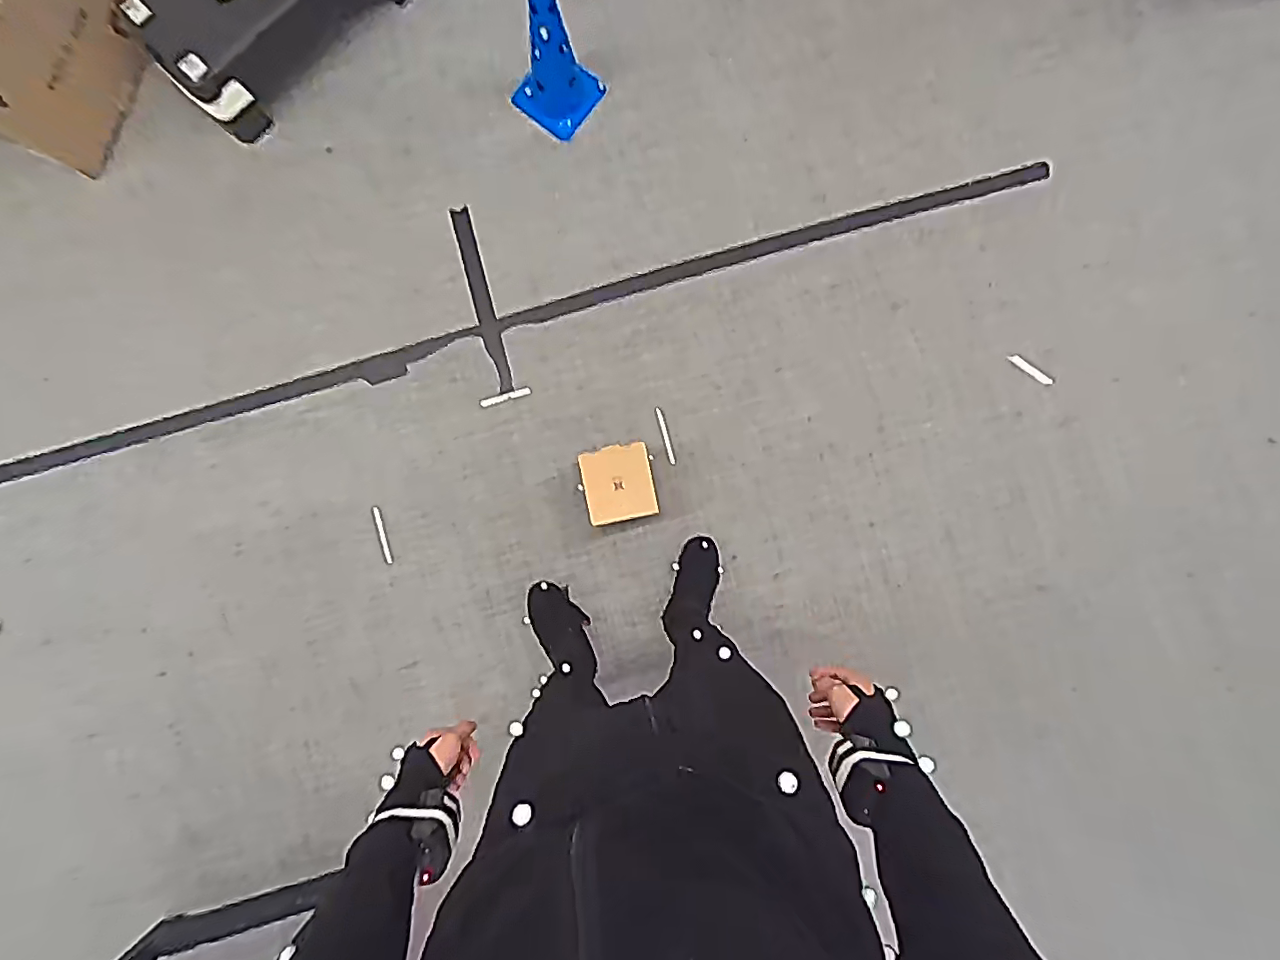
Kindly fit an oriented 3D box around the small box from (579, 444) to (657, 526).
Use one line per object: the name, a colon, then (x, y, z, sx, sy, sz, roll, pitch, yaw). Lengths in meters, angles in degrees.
small box: (-0.052, 0.012, 1.374, 0.168, 0.176, 0.179, -11, 88, -1)
